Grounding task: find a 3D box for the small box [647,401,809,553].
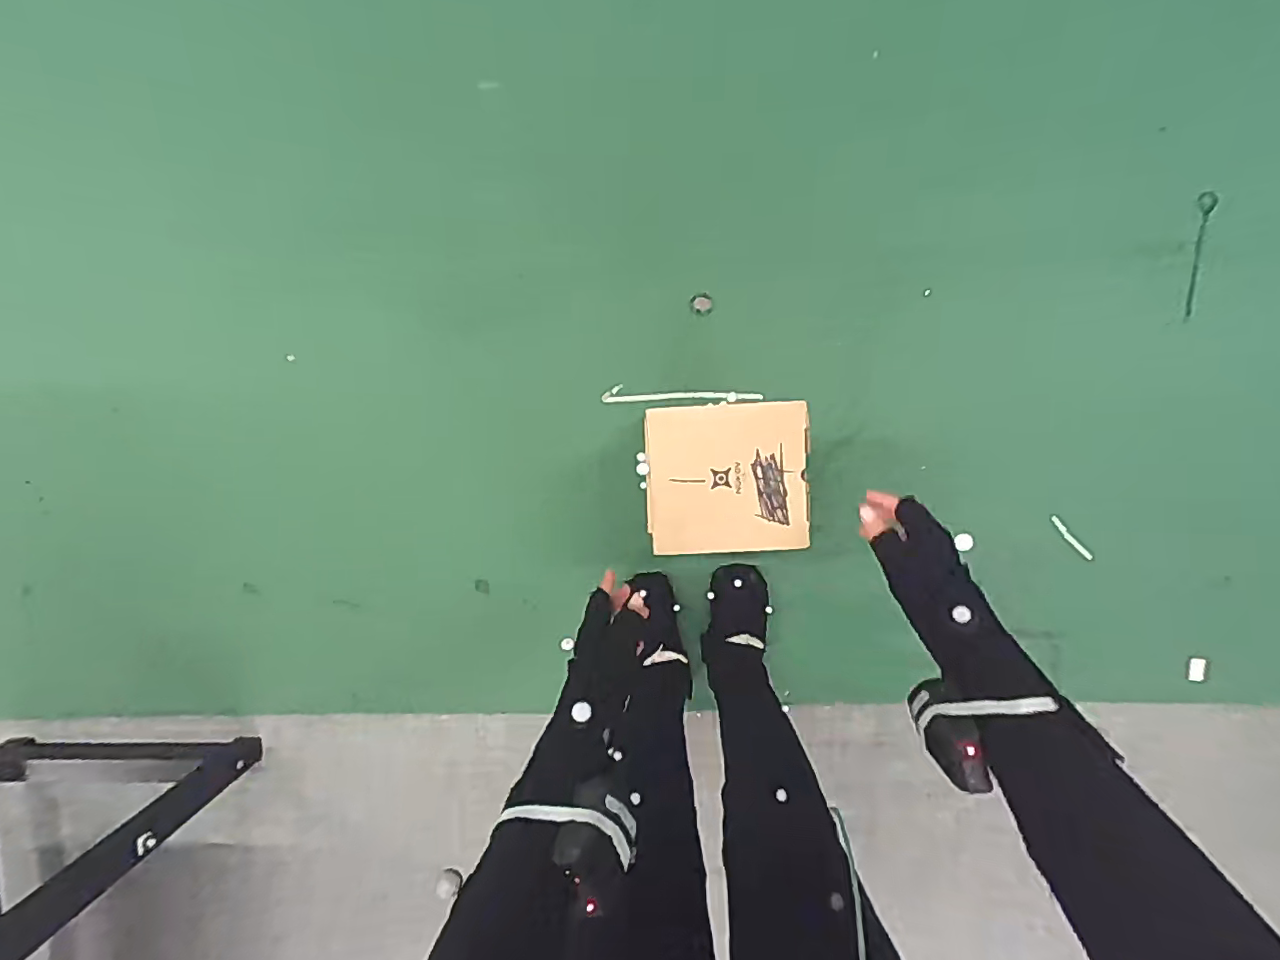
[{"bbox_3d":[0.100,-0.011,0.674,0.179,0.176,0.168,-3,96,3],"label":"small box"}]
